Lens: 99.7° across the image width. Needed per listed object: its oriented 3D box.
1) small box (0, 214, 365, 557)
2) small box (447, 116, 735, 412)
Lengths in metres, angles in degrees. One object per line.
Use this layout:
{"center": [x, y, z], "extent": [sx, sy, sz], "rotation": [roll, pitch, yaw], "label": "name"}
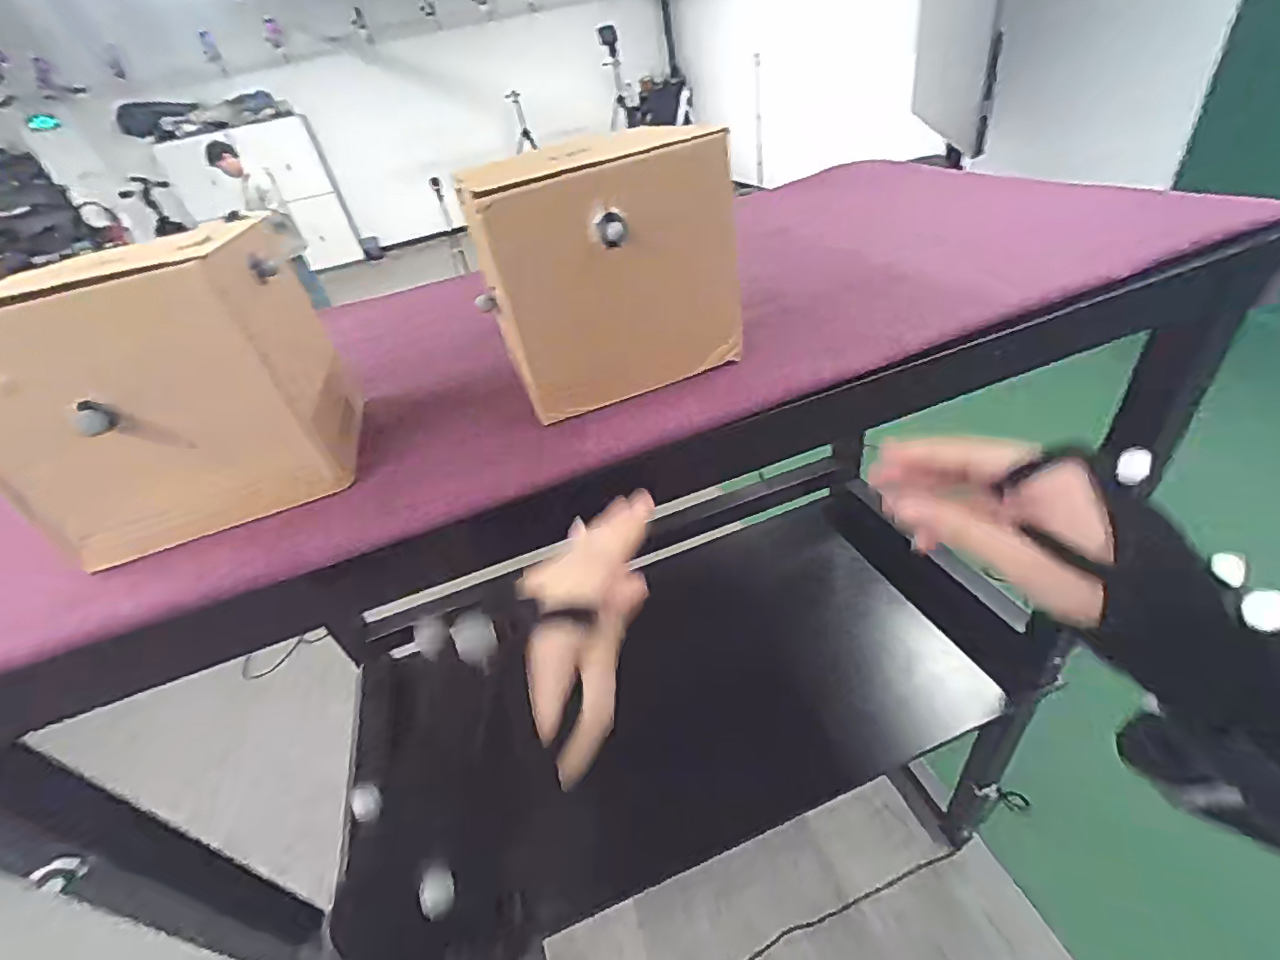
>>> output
{"center": [-0.332, -0.073, 0.392], "extent": [0.179, 0.176, 0.168], "rotation": [-21, 37, -10], "label": "small box"}
{"center": [-0.038, -0.177, 0.441], "extent": [0.179, 0.176, 0.168], "rotation": [-20, 37, -9], "label": "small box"}
